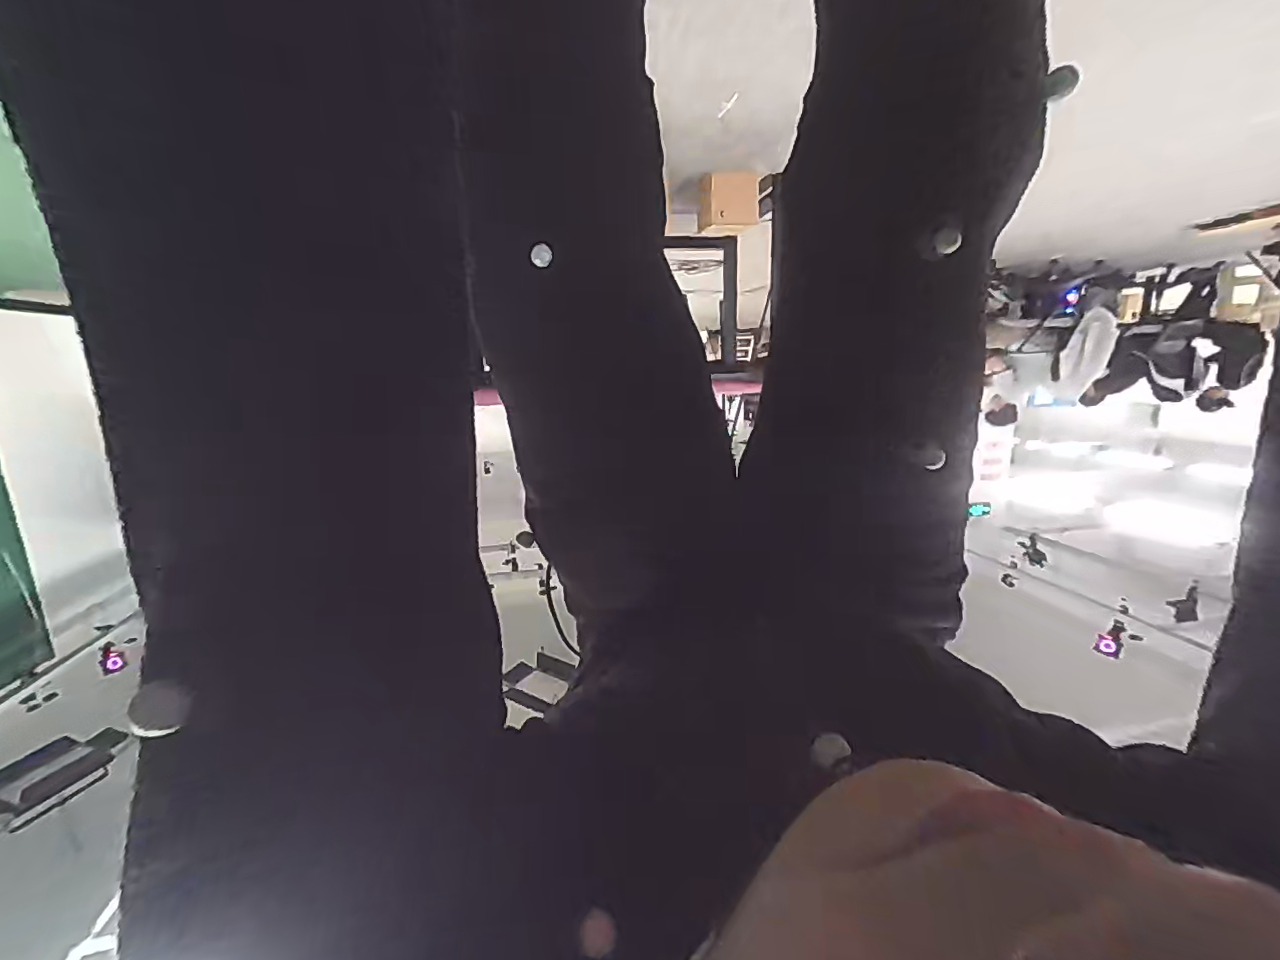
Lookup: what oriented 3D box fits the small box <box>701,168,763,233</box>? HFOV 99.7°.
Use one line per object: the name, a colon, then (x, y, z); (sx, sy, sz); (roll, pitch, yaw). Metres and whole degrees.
small box: (0.321, -0.974, 1.891); (0.179, 0.176, 0.168); (-4, -167, -10)
